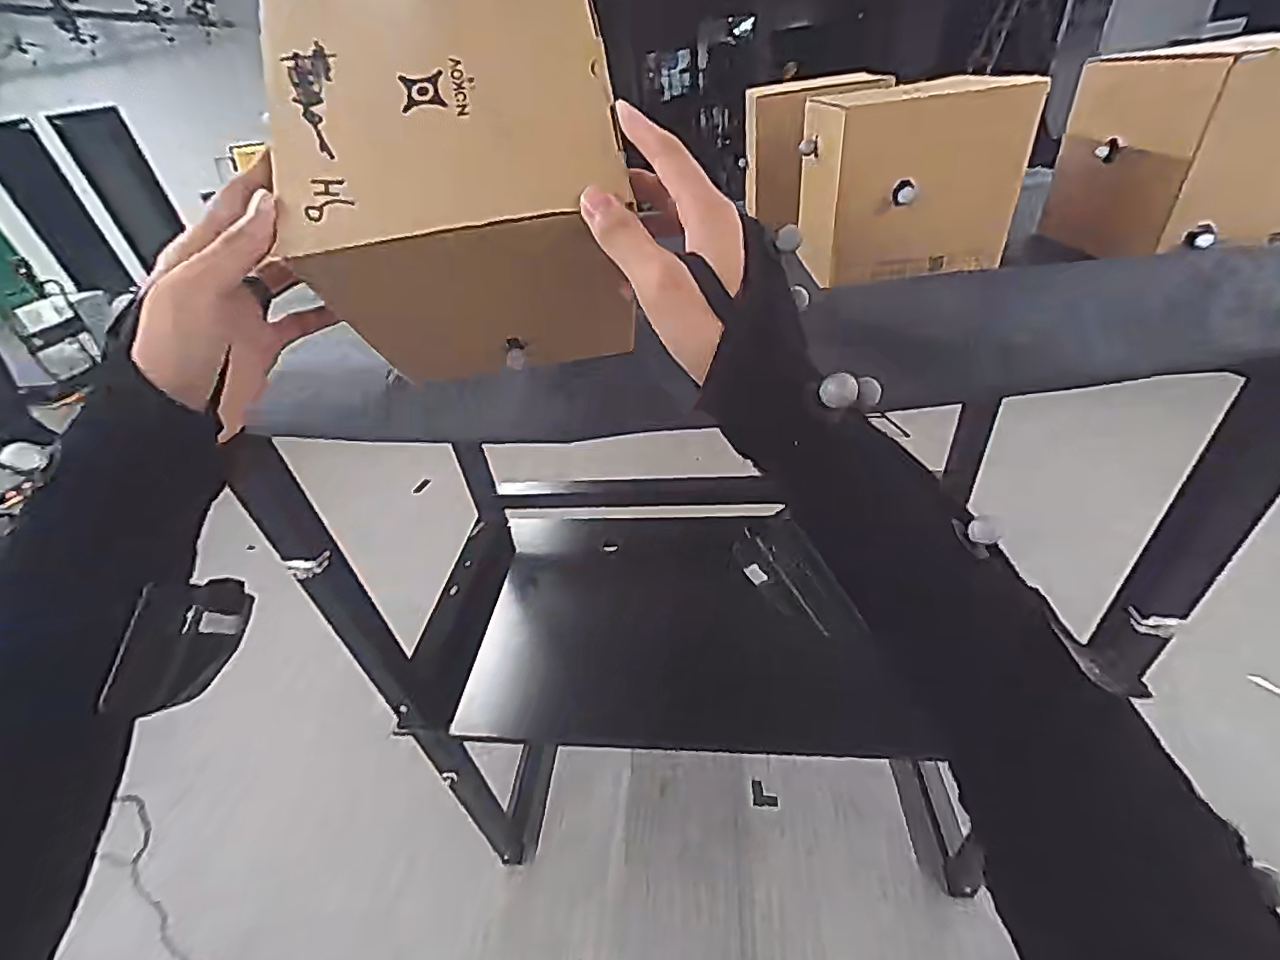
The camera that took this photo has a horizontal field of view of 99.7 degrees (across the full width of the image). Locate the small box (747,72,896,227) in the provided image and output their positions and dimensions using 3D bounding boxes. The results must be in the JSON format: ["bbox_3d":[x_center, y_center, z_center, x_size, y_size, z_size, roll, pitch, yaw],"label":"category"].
[{"bbox_3d":[0.251,-0.481,0.791,0.179,0.176,0.168,-2,38,8],"label":"small box"}]

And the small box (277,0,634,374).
[{"bbox_3d":[-0.103,-0.188,0.364,0.179,0.176,0.168,-9,77,-3],"label":"small box"}]

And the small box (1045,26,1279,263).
[{"bbox_3d":[0.539,-0.315,0.515,0.168,0.176,0.179,-6,36,4],"label":"small box"}]

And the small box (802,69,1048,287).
[{"bbox_3d":[0.269,-0.307,0.561,0.168,0.176,0.179,-4,36,7],"label":"small box"}]
